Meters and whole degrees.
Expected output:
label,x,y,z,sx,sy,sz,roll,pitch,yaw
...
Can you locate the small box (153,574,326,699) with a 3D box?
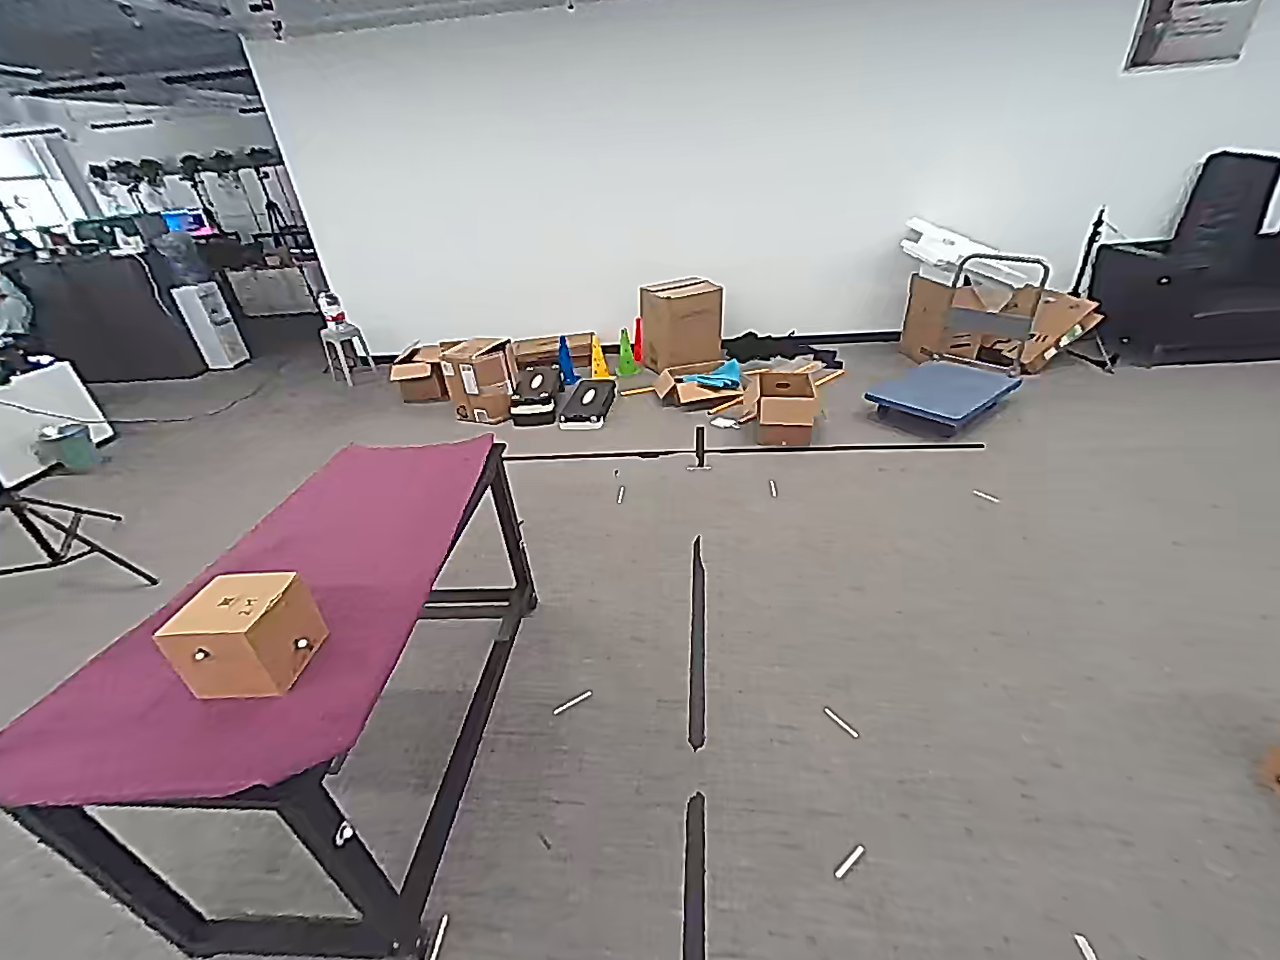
label,x,y,z,sx,sy,sz,roll,pitch,yaw
small box,-0.753,0.301,1.039,0.179,0.176,0.168,-3,30,3
